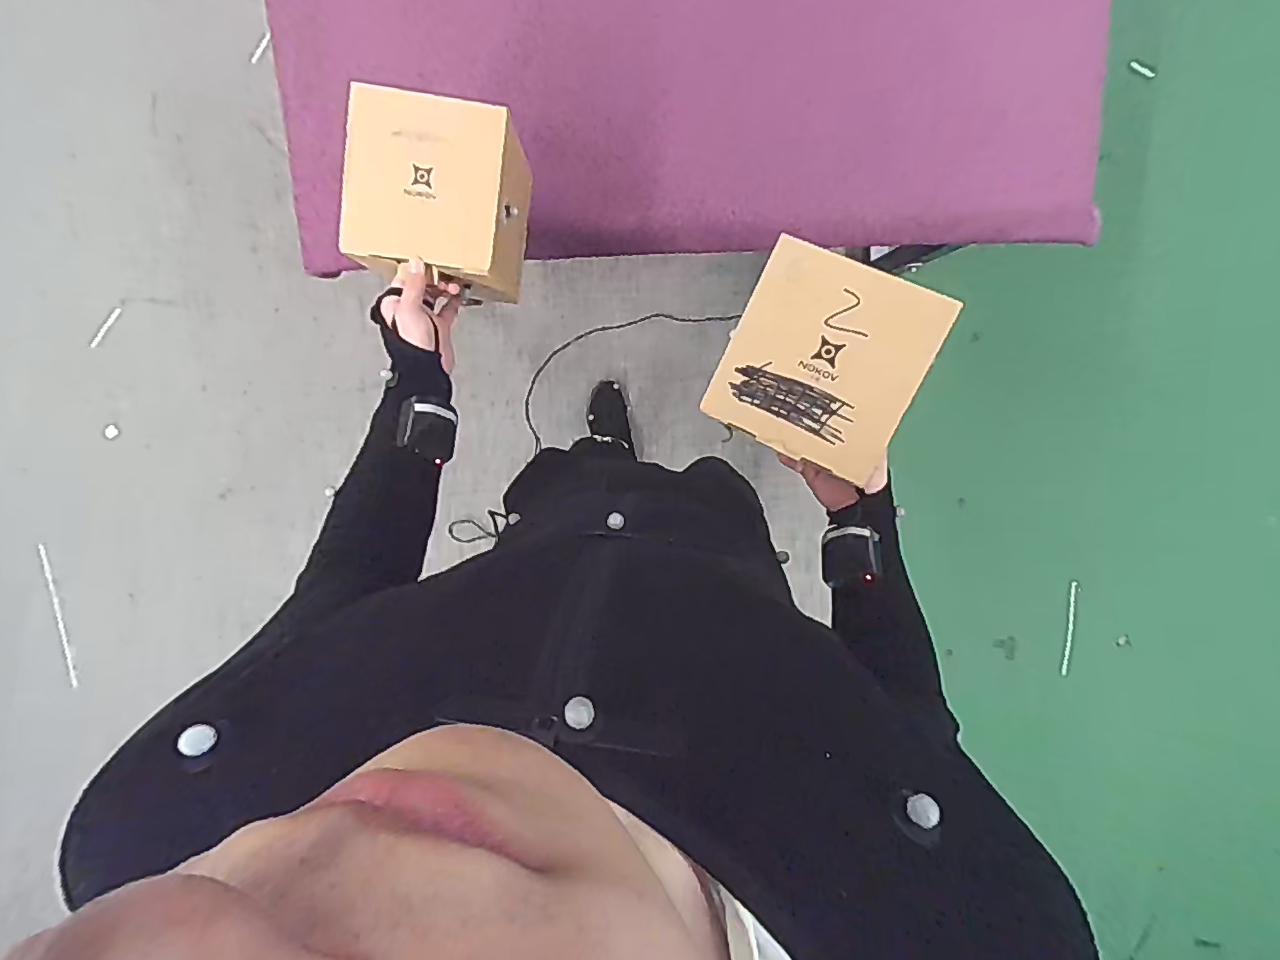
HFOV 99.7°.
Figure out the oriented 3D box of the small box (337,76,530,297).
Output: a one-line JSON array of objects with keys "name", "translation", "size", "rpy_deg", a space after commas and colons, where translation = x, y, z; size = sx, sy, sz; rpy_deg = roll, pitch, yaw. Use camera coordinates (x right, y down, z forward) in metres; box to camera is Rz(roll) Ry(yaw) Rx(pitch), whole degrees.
[{"name": "small box", "translation": [-0.237, -0.335, 0.656], "size": [0.168, 0.176, 0.179], "rpy_deg": [9, 96, -3]}]
